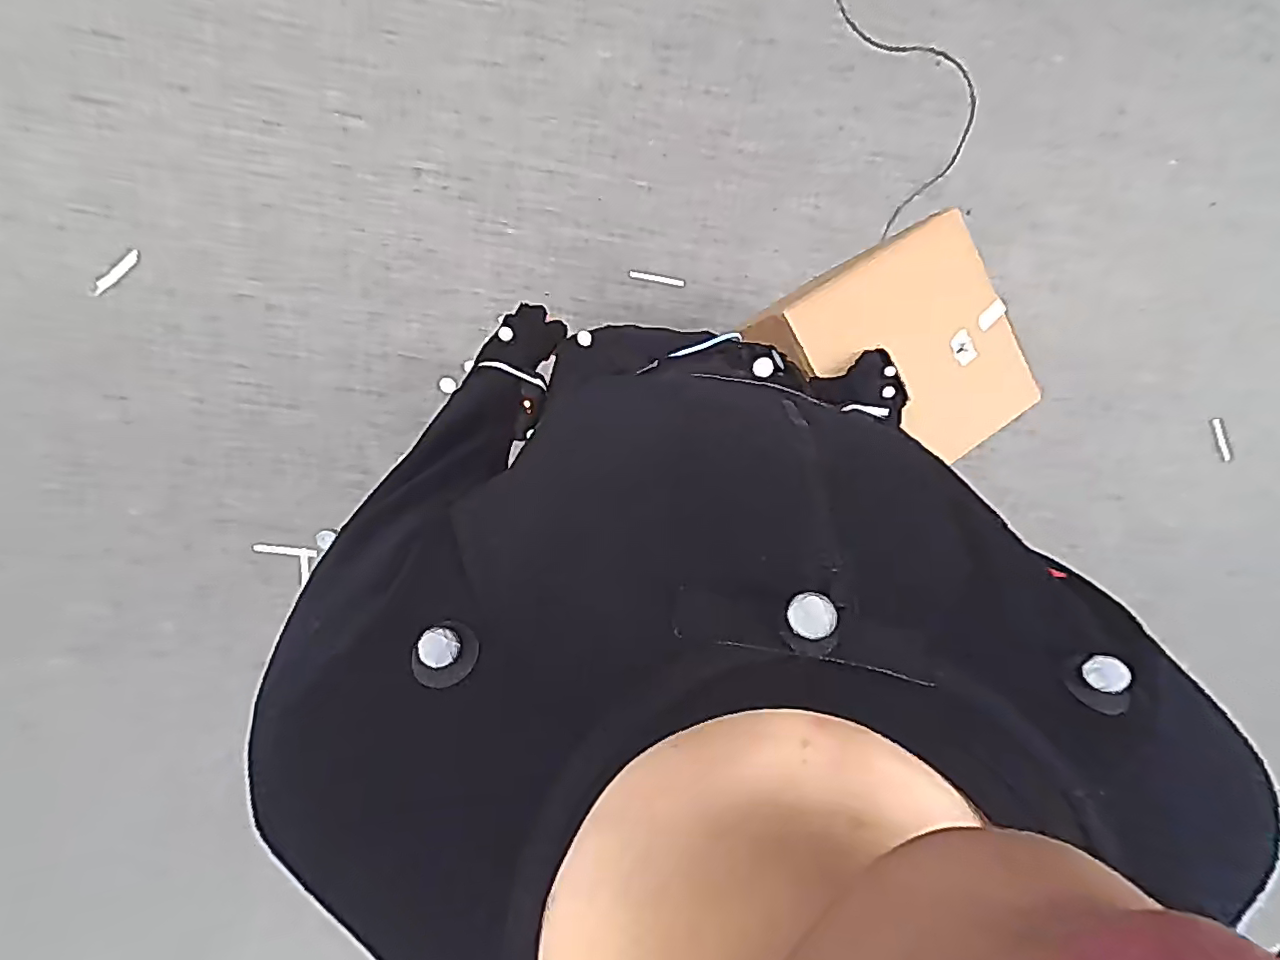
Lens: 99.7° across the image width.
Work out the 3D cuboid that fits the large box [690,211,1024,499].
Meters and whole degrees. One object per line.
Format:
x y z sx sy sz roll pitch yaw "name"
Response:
0.341 -0.191 0.953 0.320 0.408 0.320 -32 100 -8 "large box"
